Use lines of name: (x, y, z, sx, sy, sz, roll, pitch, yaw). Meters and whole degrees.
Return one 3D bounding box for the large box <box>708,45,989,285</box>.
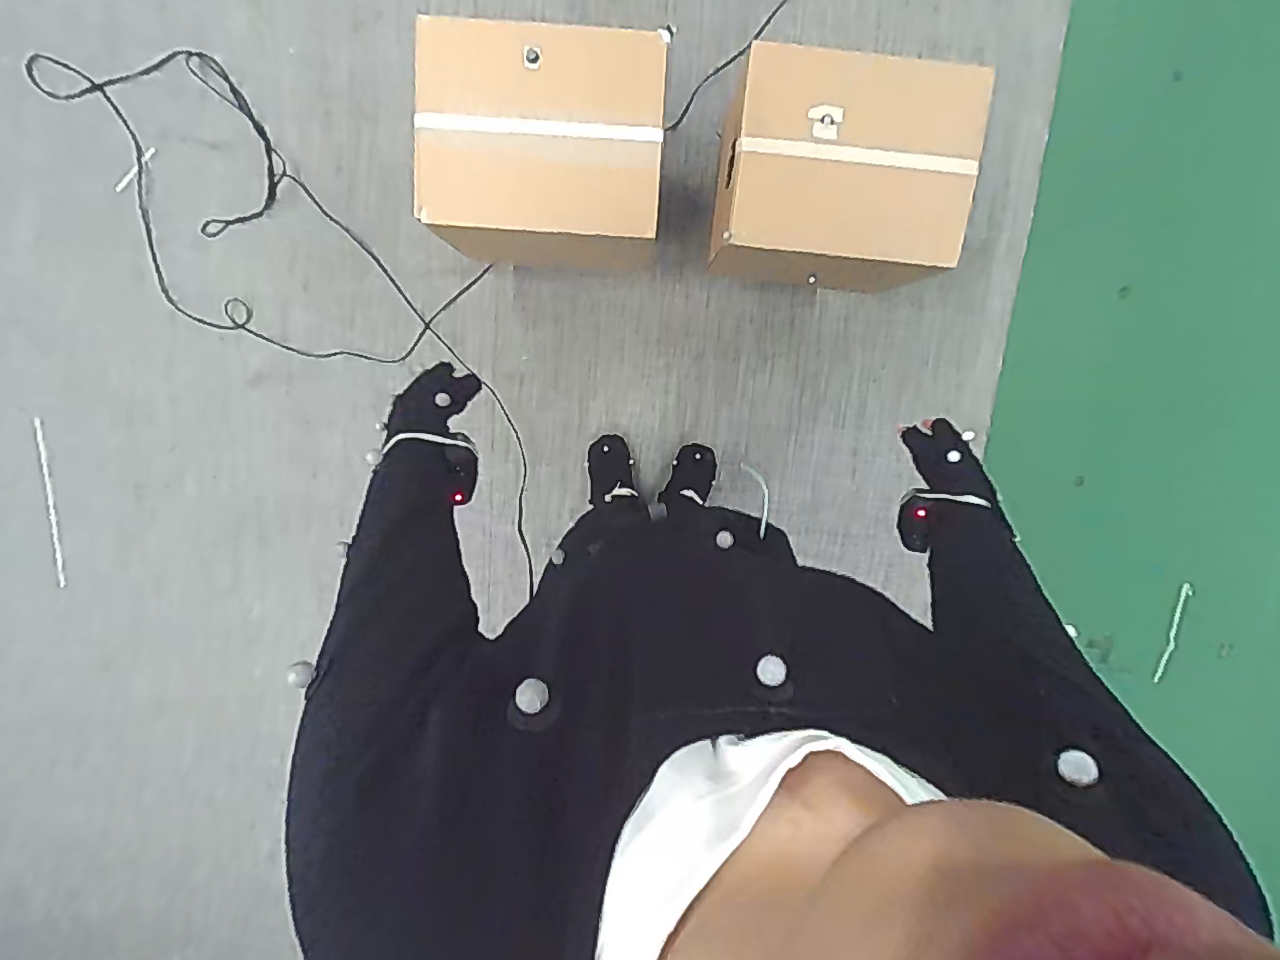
large box: (0.367, -0.576, 1.060, 0.408, 0.320, 0.320, 6, 101, -1)
